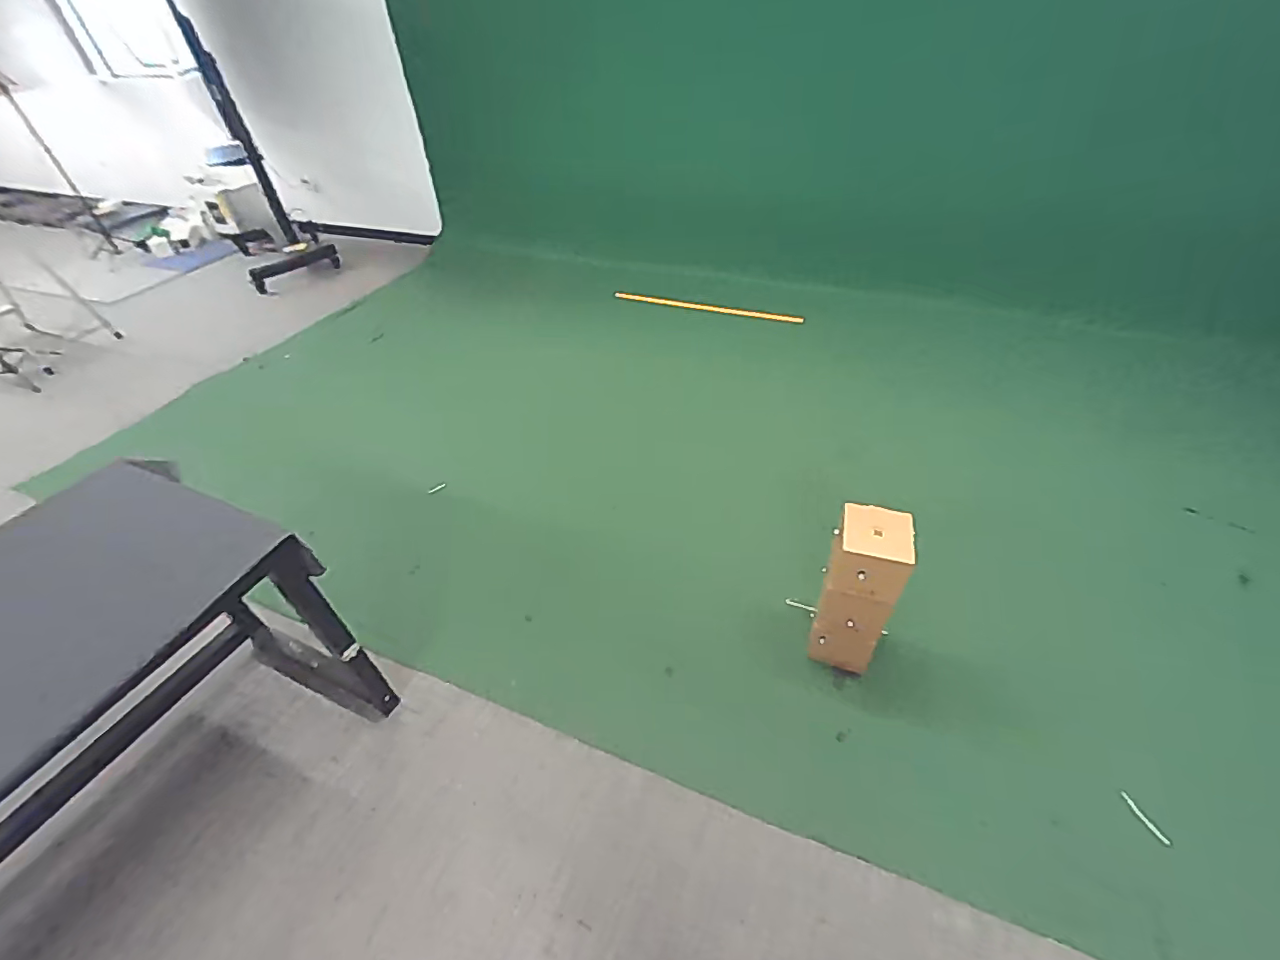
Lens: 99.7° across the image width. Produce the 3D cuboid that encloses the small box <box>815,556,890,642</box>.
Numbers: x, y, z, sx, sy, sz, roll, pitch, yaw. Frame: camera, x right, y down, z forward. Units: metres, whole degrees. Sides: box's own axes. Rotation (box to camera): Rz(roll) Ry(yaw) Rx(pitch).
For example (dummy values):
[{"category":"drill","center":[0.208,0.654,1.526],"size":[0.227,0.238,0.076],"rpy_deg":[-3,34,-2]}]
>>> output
[{"category":"small box","center":[0.596,0.318,1.516],"size":[0.168,0.176,0.179],"rpy_deg":[12,44,16]}]

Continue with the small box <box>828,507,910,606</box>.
[{"category":"small box","center":[0.590,0.199,1.406],"size":[0.168,0.176,0.179],"rpy_deg":[10,42,14]}]
